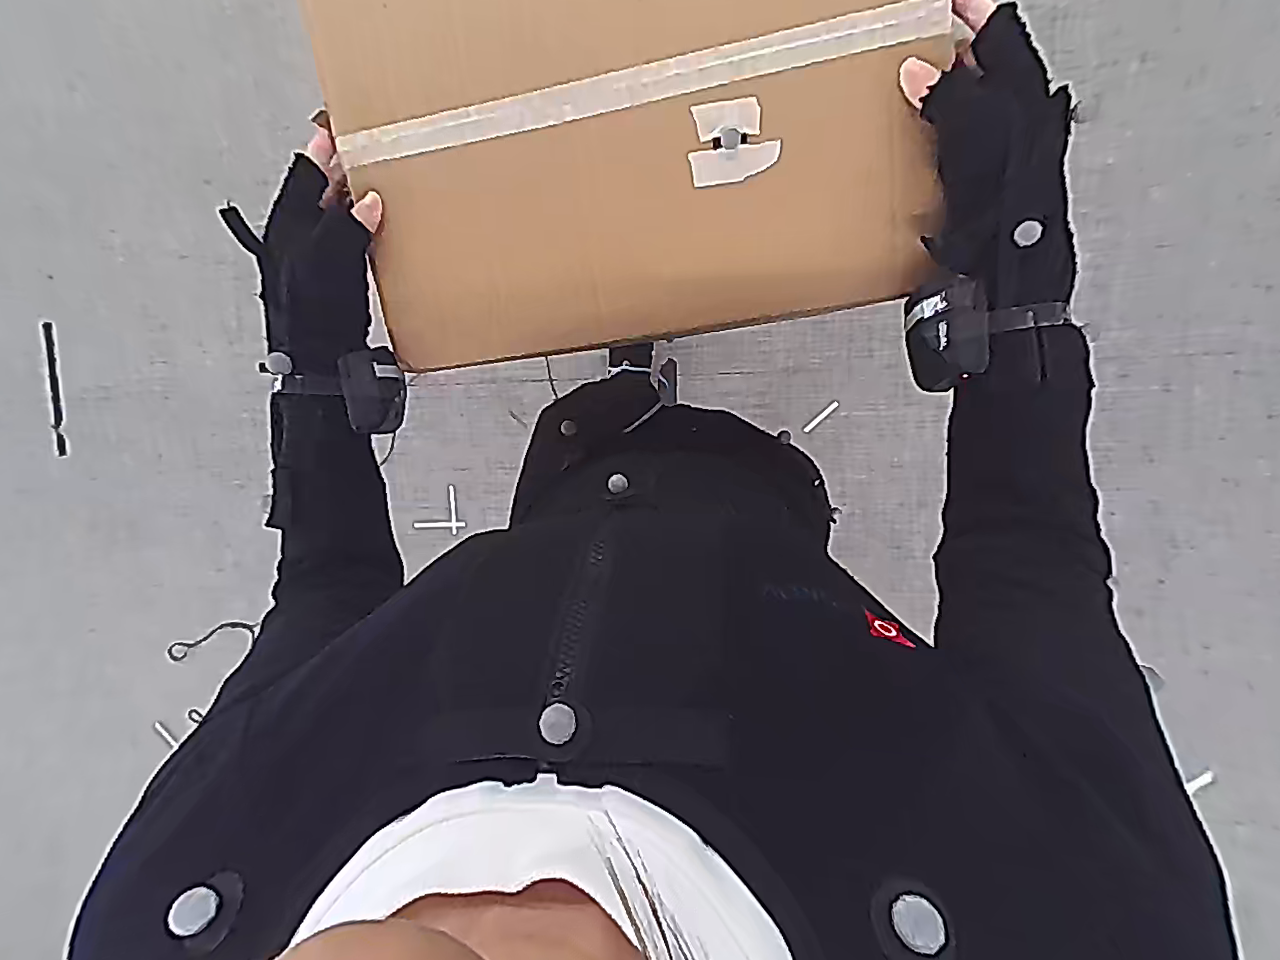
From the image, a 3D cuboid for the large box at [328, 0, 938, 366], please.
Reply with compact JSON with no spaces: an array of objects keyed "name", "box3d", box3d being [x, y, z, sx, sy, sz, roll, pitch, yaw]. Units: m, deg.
[{"name":"large box","box3d":[0.006,-0.300,0.516,0.408,0.320,0.320,-7,104,8]}]
